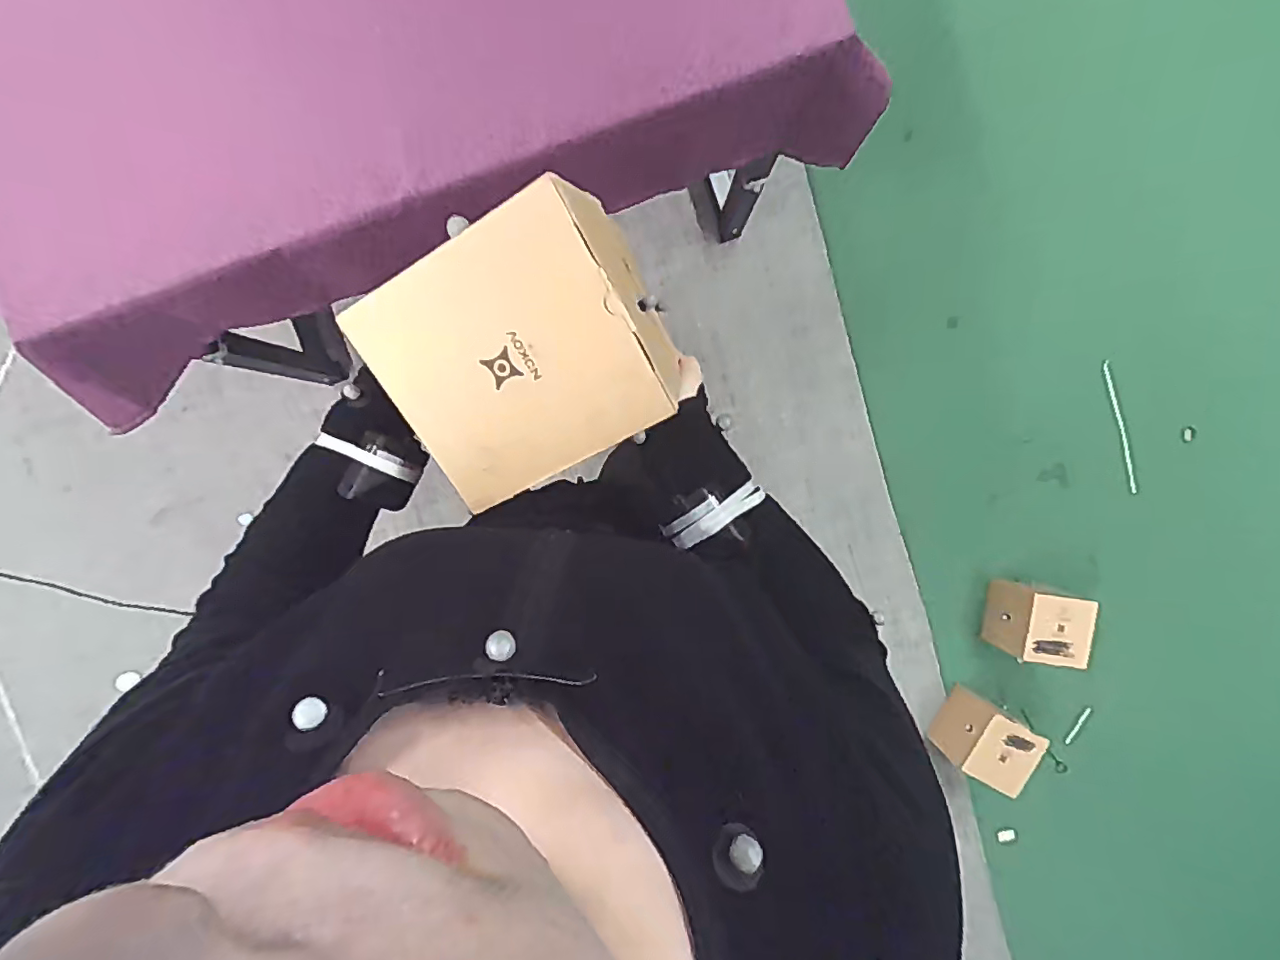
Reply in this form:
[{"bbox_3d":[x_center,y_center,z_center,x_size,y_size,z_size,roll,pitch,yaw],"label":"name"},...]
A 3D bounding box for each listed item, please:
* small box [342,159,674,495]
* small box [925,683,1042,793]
[{"bbox_3d":[-0.082,-0.118,0.438,0.179,0.176,0.168,-26,108,14],"label":"small box"},{"bbox_3d":[0.911,0.684,1.455,0.168,0.176,0.179,29,94,-3],"label":"small box"}]
